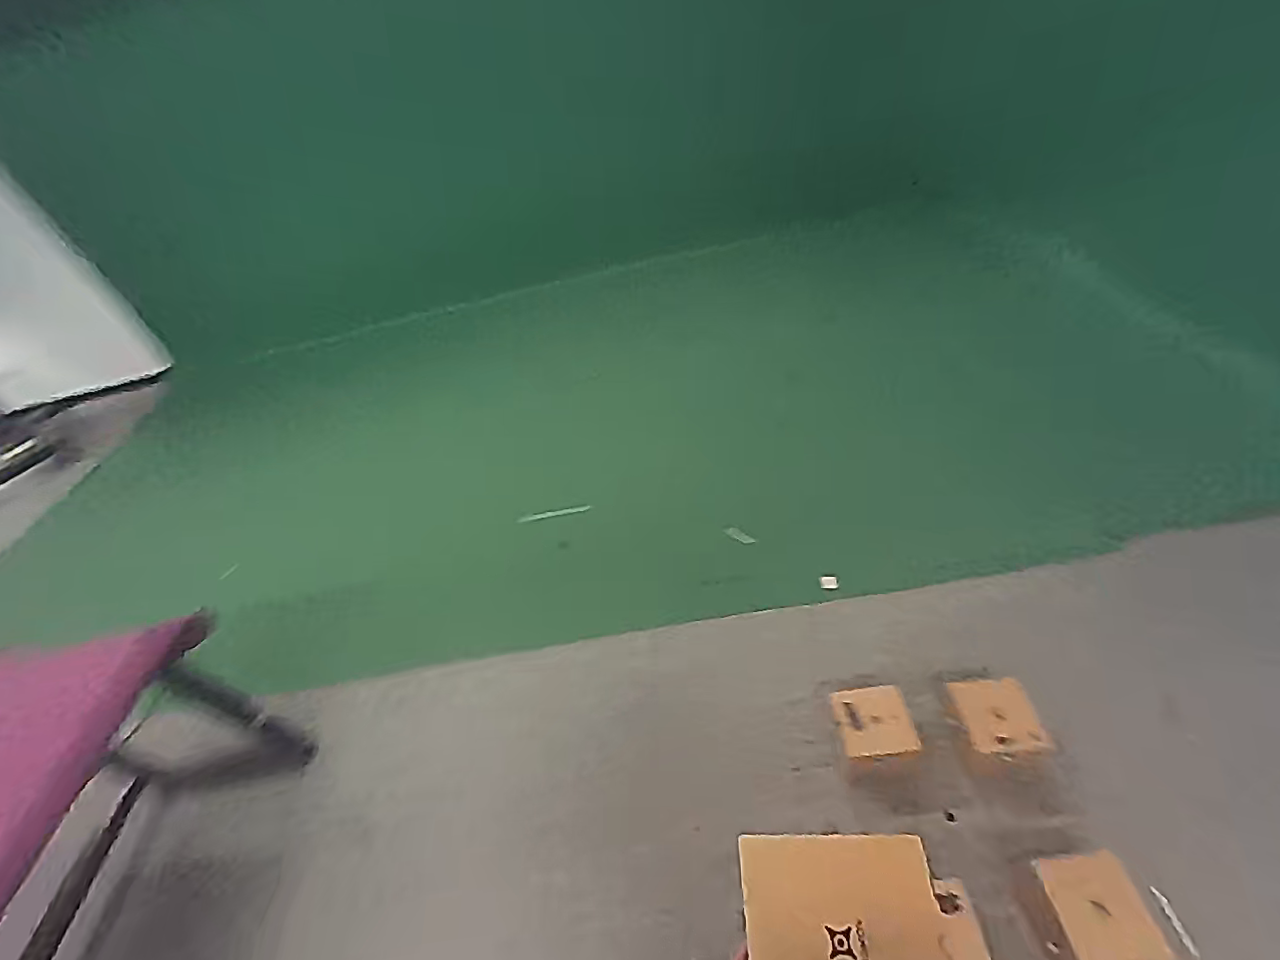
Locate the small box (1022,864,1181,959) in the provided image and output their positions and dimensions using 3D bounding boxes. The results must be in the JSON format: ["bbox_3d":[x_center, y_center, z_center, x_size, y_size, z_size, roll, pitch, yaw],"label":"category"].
[{"bbox_3d":[0.911,0.896,1.080,0.168,0.176,0.179,-10,42,6],"label":"small box"}]

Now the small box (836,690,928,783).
[{"bbox_3d":[0.619,0.671,1.408,0.179,0.176,0.168,-9,43,7],"label":"small box"}]

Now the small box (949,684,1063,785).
[{"bbox_3d":[0.902,0.638,1.356,0.168,0.176,0.179,-8,42,9],"label":"small box"}]
